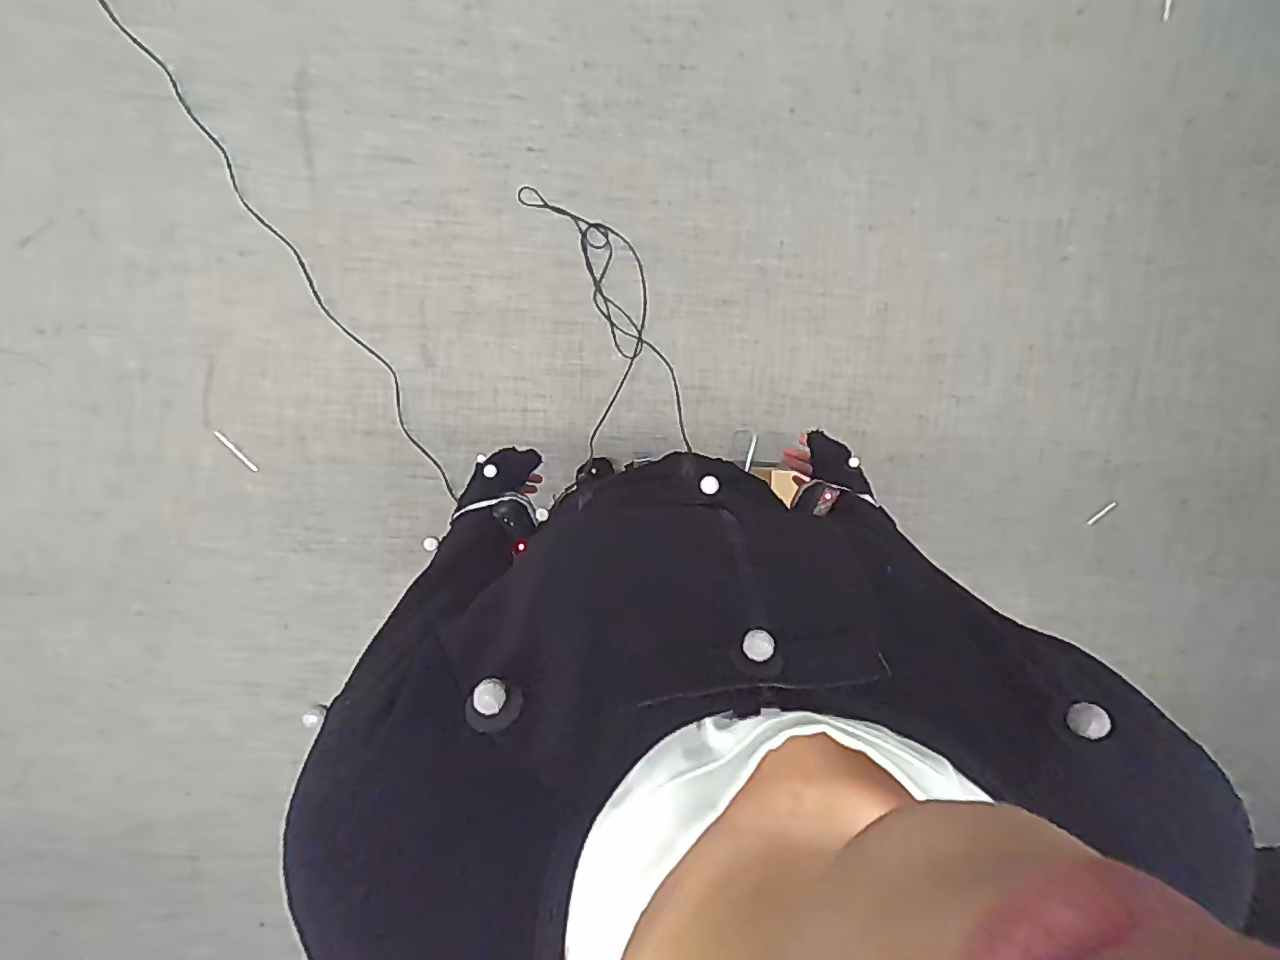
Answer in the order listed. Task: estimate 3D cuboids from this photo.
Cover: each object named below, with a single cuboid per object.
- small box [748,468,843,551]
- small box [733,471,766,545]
[{"bbox_3d":[0.356,0.064,1.266,0.168,0.176,0.179,2,94,-4],"label":"small box"},{"bbox_3d":[0.348,0.073,1.432,0.168,0.176,0.179,5,93,-4],"label":"small box"}]
